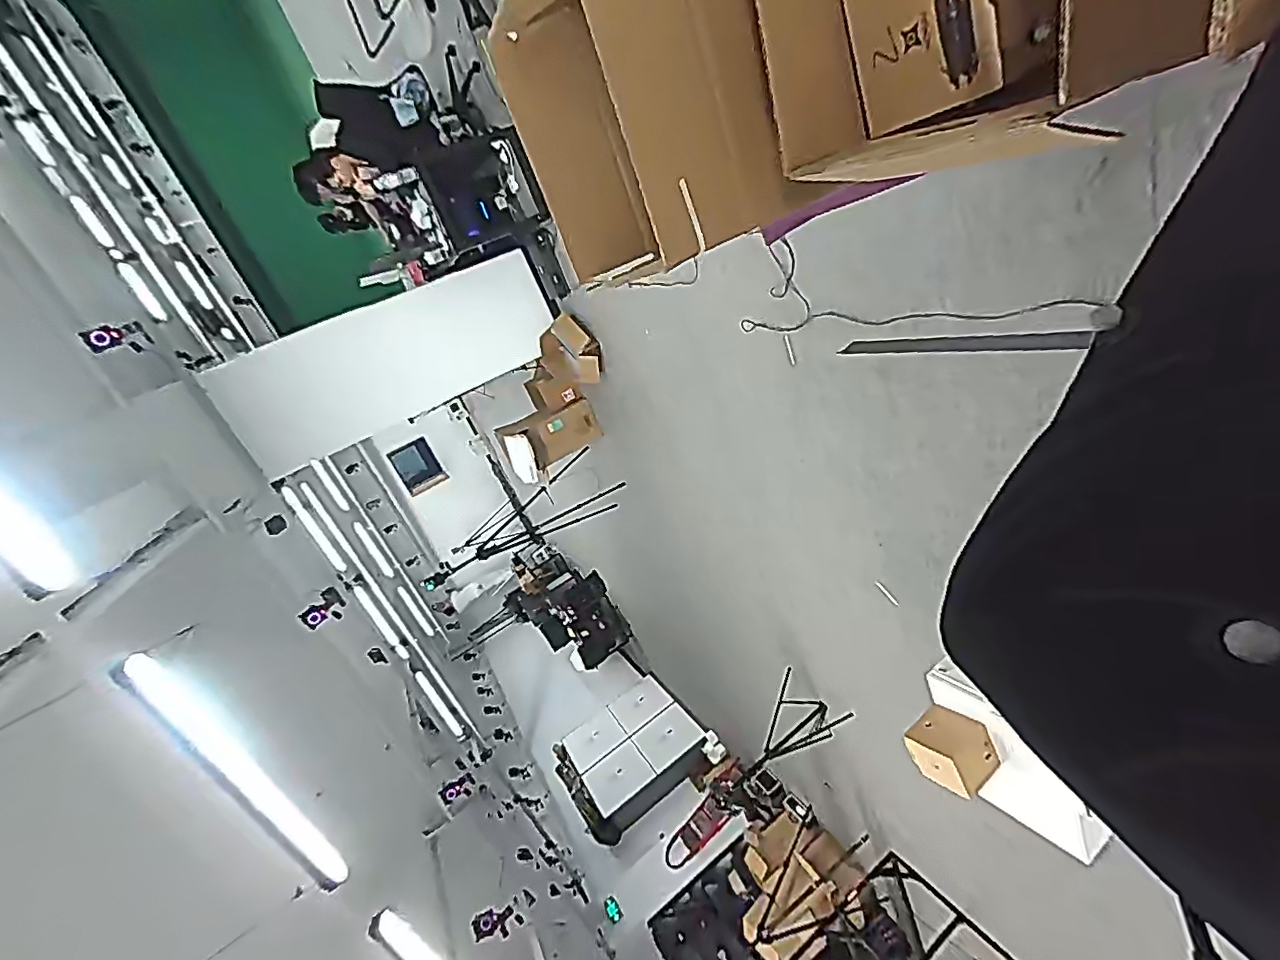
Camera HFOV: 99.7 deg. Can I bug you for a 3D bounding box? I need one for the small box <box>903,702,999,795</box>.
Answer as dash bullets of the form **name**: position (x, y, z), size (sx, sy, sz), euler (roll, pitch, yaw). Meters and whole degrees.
- **small box**: position (0.982, 0.836, 1.707), size (0.168, 0.176, 0.179), euler (61, 160, -11)
